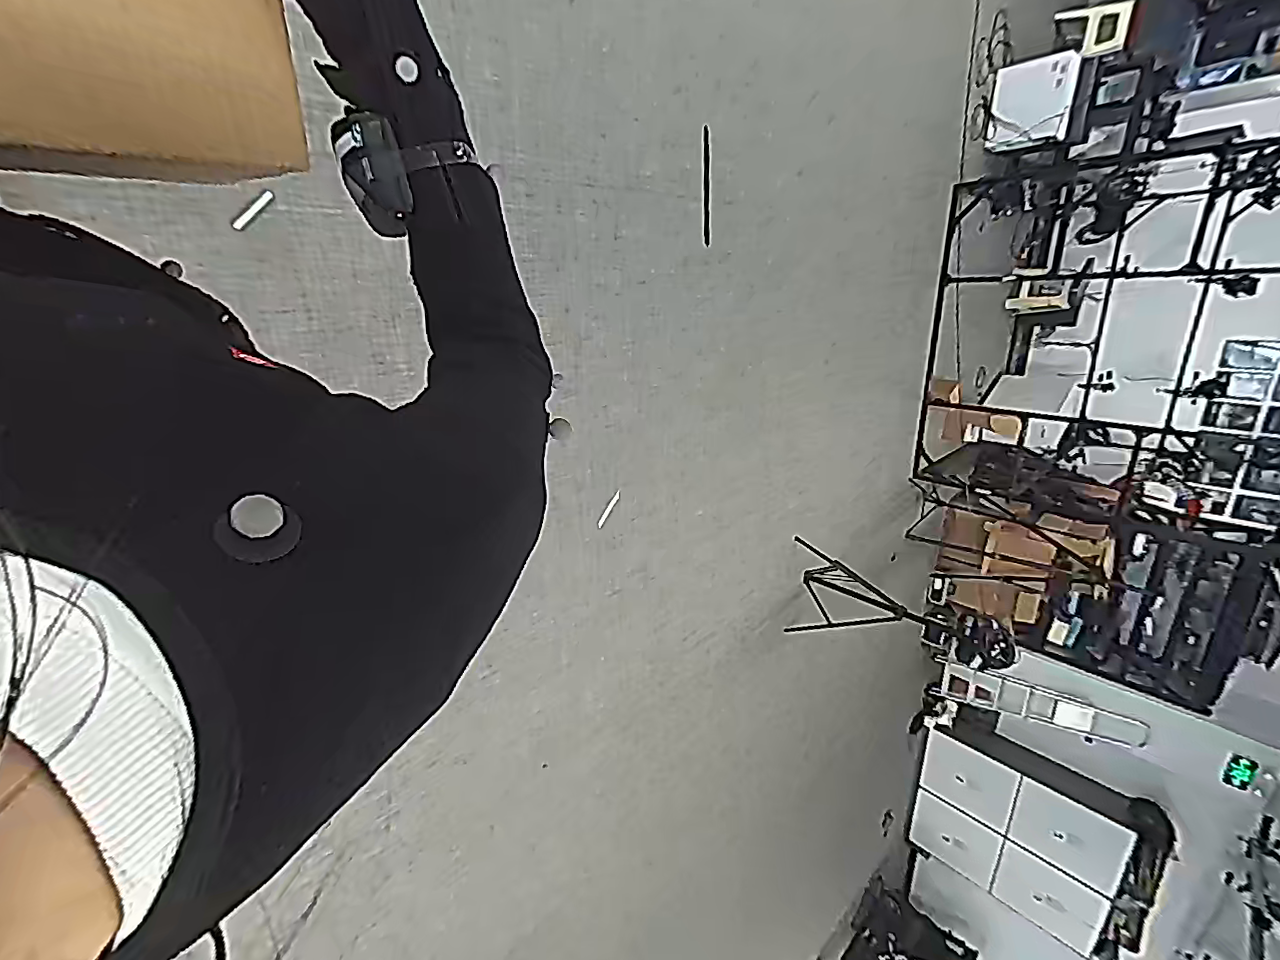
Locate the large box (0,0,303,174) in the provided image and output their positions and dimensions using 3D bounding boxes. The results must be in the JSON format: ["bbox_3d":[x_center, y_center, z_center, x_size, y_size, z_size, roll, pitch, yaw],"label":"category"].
[{"bbox_3d":[-0.463,-0.344,0.266,0.408,0.320,0.320,-20,124,-38],"label":"large box"}]
